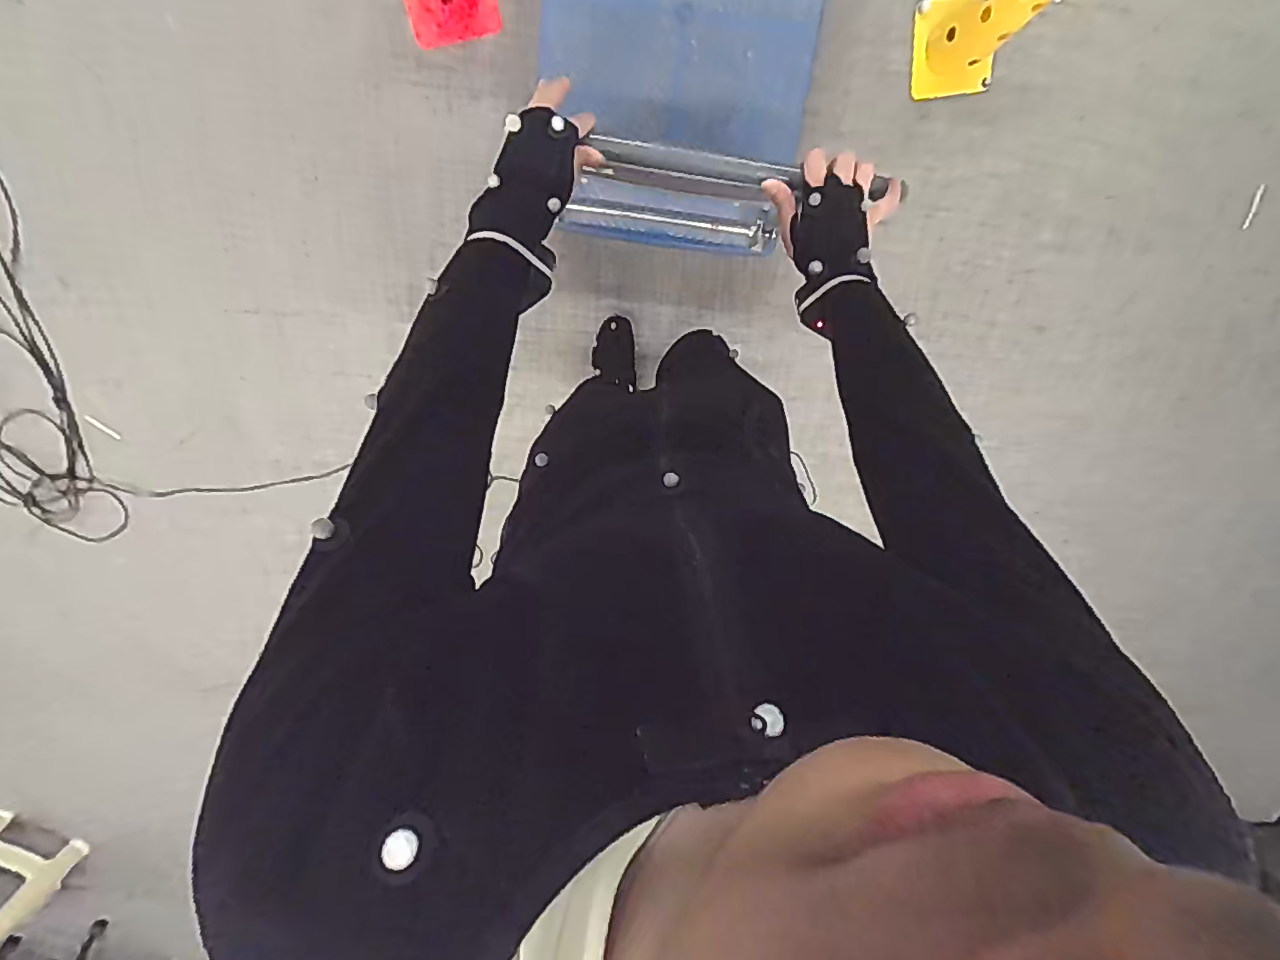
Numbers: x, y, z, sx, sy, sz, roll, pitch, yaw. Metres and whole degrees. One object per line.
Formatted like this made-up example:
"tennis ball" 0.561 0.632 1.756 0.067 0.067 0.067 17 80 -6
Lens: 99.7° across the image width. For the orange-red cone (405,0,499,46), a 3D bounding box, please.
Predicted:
"orange-red cone" -0.417 -1.027 1.033 0.199 0.360 0.198 -11 111 2
